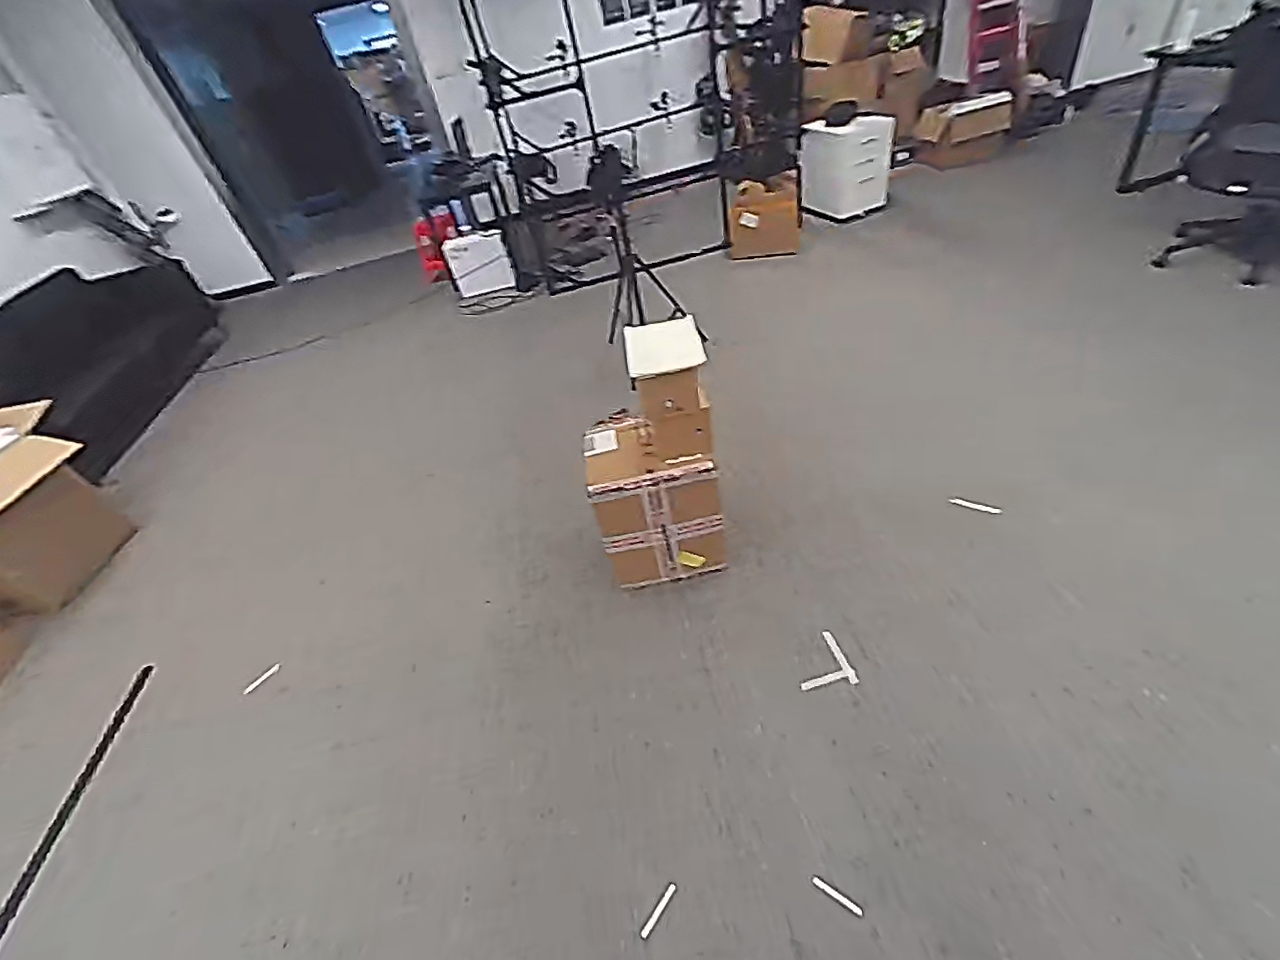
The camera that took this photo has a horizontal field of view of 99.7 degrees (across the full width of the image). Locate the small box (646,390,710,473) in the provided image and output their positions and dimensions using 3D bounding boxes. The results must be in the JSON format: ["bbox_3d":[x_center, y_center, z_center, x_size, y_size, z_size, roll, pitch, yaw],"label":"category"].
[{"bbox_3d":[0.110,-0.146,1.630,0.179,0.176,0.168,-12,42,0],"label":"small box"}]

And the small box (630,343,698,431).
[{"bbox_3d":[0.067,-0.261,1.519,0.168,0.176,0.179,-9,43,2],"label":"small box"}]
